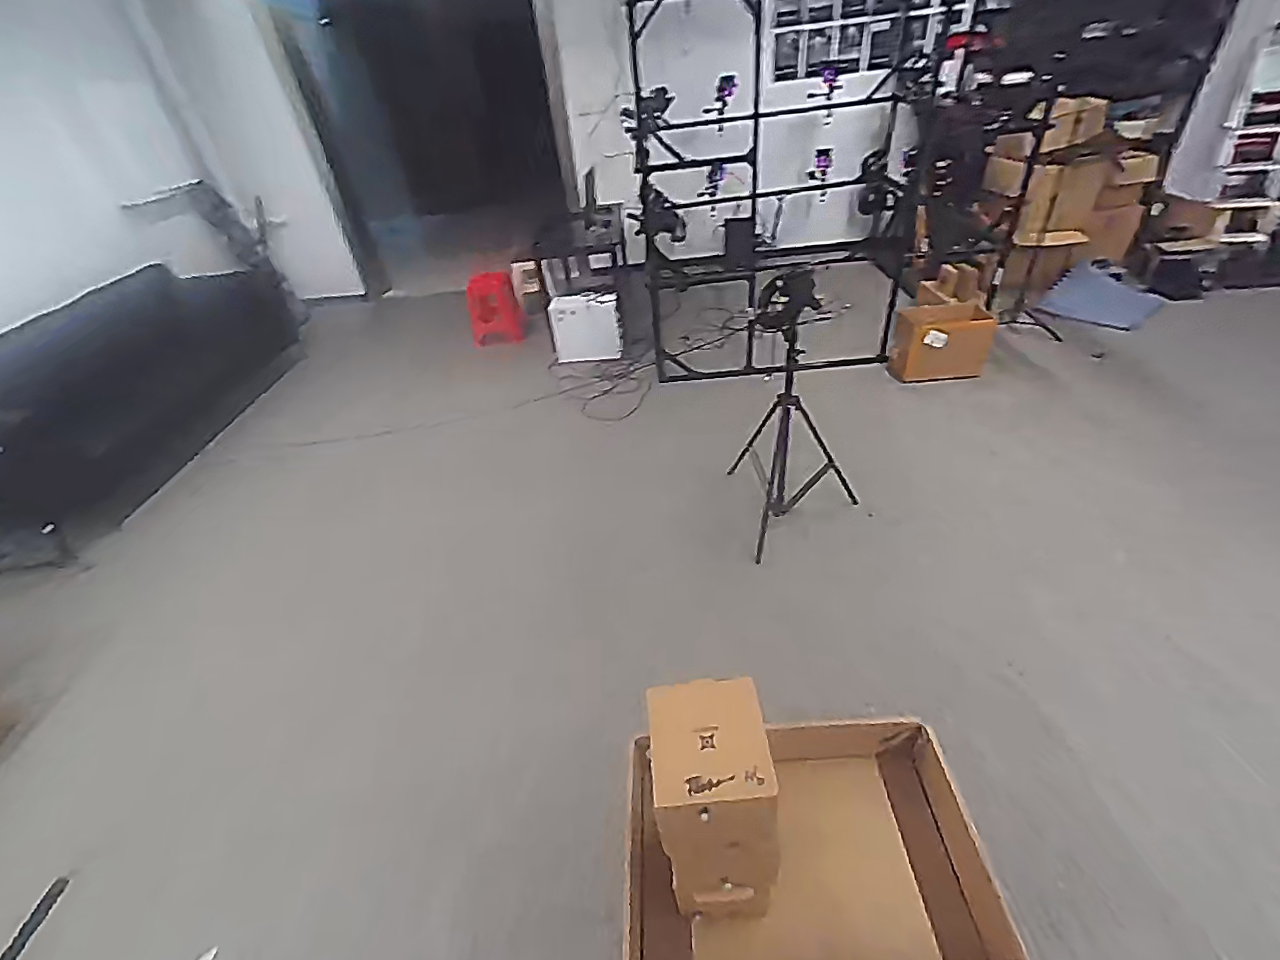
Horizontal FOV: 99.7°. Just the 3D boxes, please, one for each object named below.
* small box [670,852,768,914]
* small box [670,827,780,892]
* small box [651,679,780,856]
[{"bbox_3d":[0.145,0.684,1.010,0.168,0.176,0.179,-6,36,4],"label":"small box"},{"bbox_3d":[0.132,0.557,0.907,0.168,0.176,0.179,-7,37,3],"label":"small box"},{"bbox_3d":[0.106,0.427,0.809,0.168,0.176,0.179,-7,36,3],"label":"small box"}]
